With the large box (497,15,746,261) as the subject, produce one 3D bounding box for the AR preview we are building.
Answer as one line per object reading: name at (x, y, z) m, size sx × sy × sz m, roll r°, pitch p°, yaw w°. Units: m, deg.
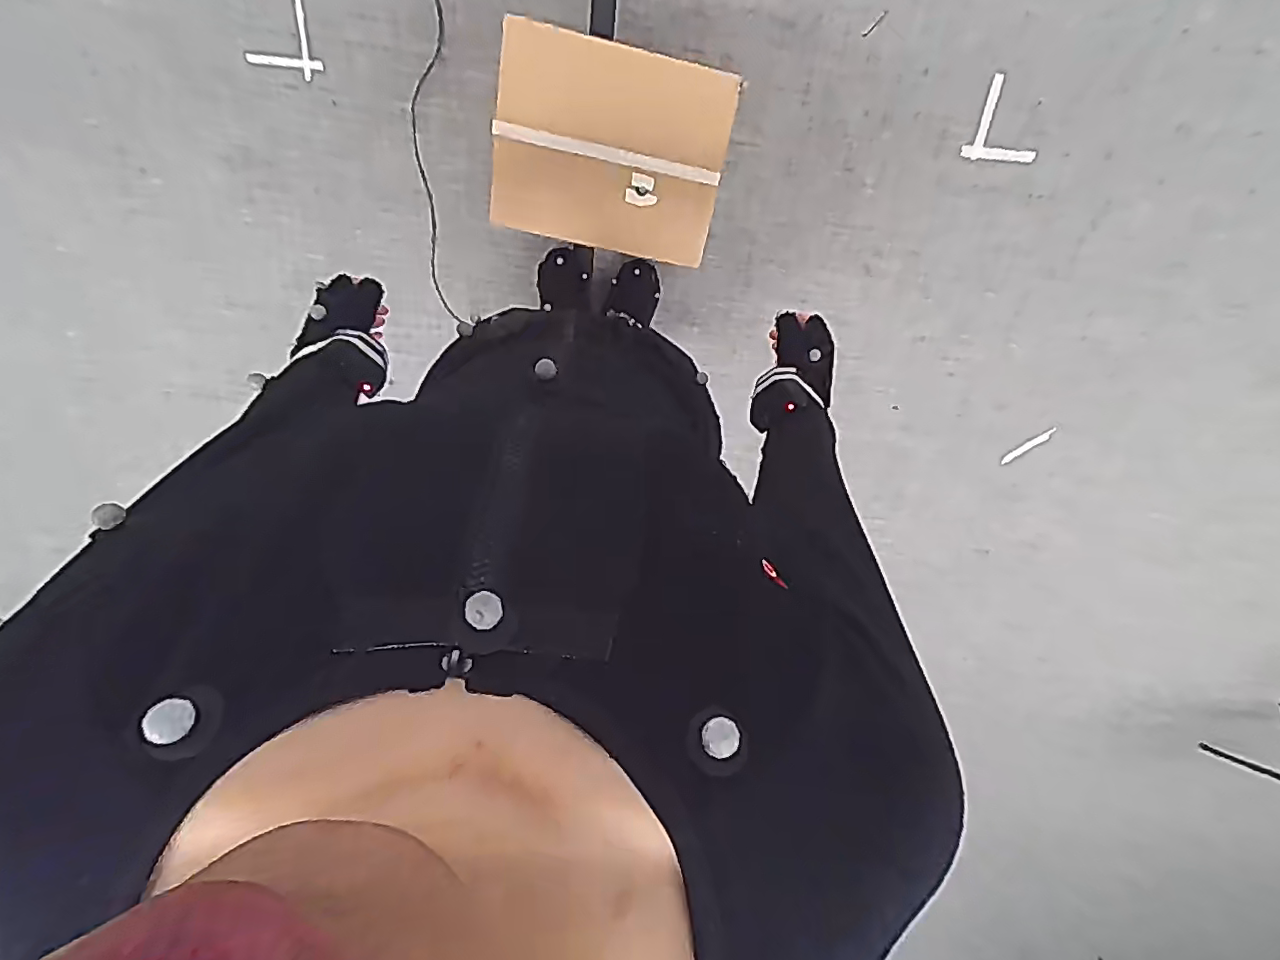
large box at (-0.051, -0.651, 1.086) m, size 0.408 × 0.320 × 0.320 m, roll 9°, pitch 117°, yaw -8°
